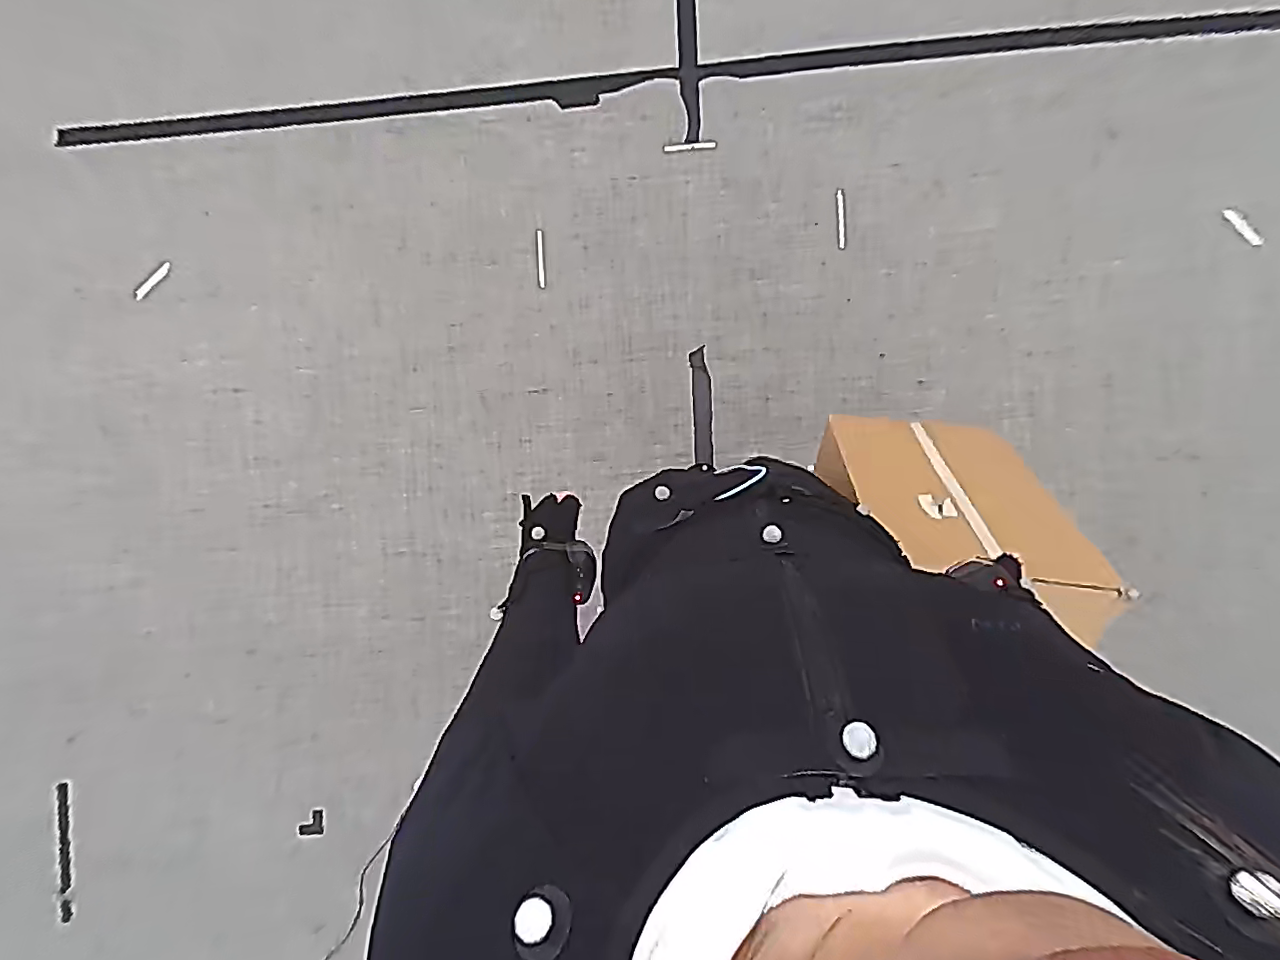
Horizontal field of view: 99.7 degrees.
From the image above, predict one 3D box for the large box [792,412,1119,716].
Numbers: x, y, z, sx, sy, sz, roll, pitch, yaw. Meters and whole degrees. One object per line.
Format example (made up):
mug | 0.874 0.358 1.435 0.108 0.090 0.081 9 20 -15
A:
large box | 0.468 0.128 0.936 0.320 0.408 0.320 5 129 4
